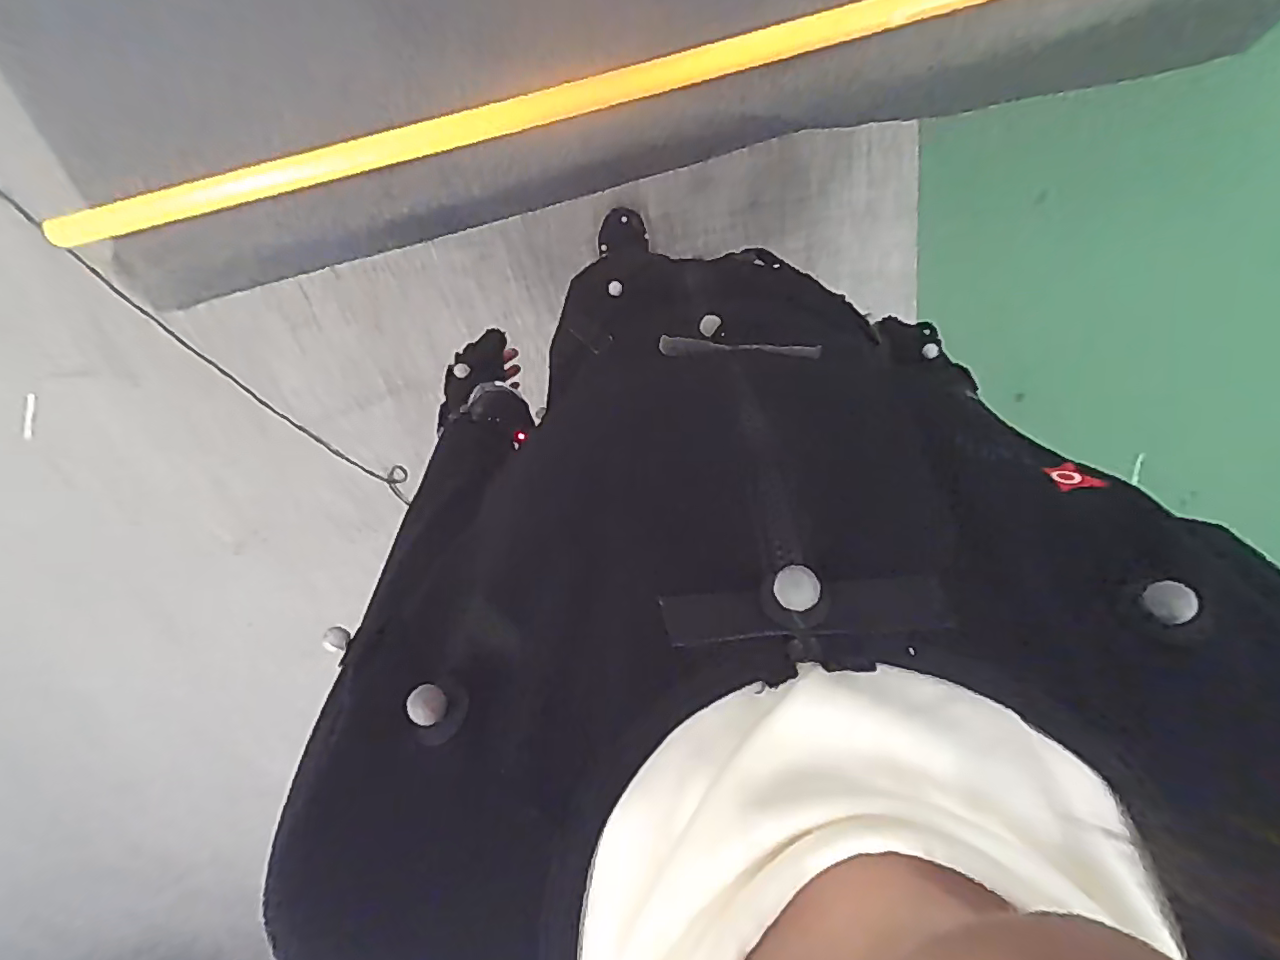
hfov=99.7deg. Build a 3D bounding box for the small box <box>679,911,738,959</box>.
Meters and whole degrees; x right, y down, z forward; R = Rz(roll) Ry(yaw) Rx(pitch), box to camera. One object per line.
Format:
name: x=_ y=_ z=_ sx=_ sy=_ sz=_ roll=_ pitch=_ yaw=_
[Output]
small box: x=0.241 y=1.620 z=1.847 sx=0.168 sy=0.176 sz=0.179 roll=-18 pitch=117 yaw=5
